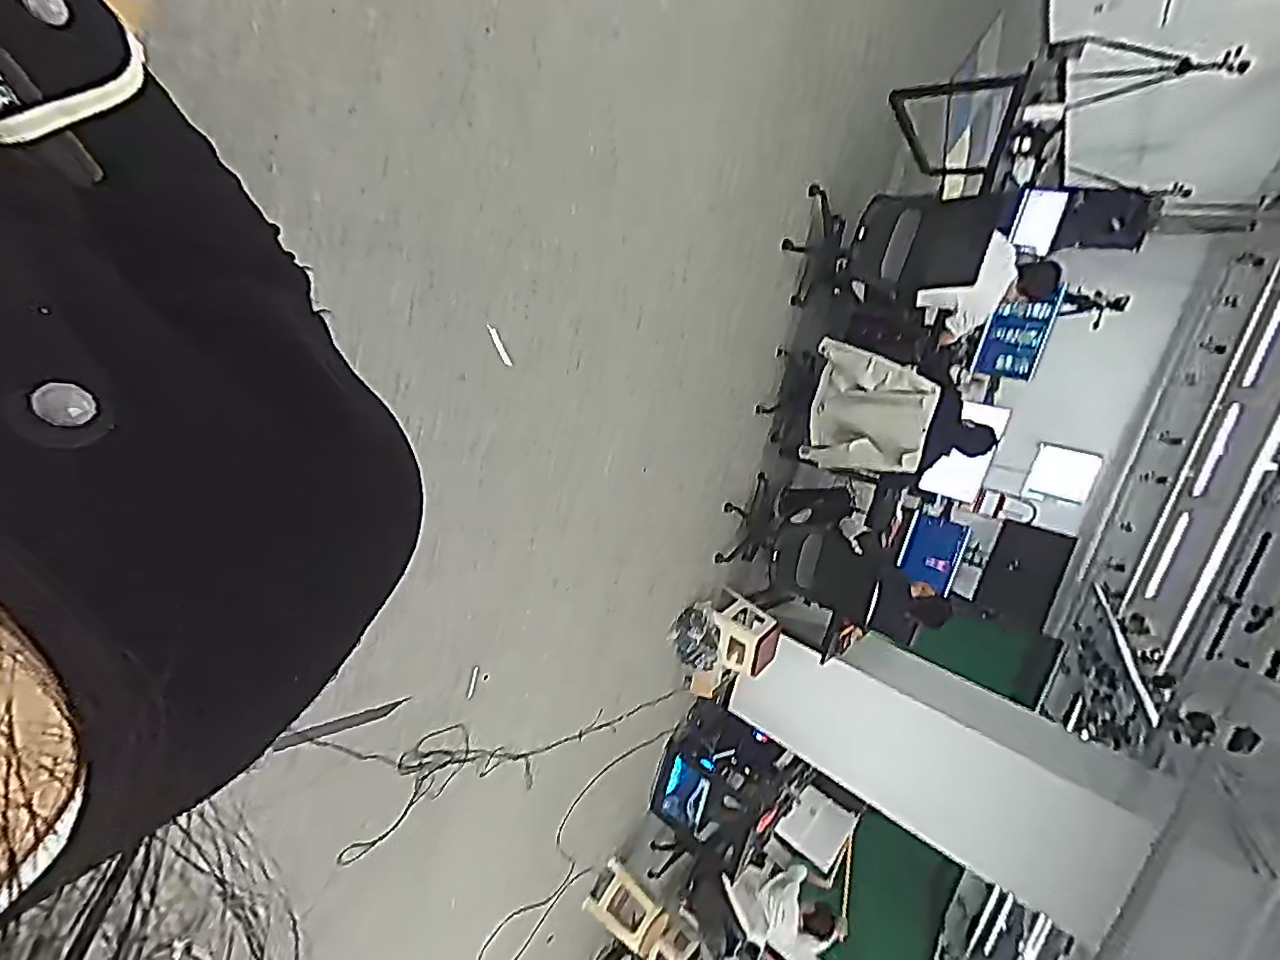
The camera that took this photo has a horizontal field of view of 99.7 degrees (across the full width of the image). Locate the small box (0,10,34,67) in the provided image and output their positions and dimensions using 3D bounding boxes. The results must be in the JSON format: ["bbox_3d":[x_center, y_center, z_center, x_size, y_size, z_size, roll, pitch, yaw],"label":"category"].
[{"bbox_3d":[-0.807,-0.598,0.598,0.179,0.176,0.168,1,108,-53],"label":"small box"}]

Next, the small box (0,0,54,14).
[{"bbox_3d":[-0.561,-0.500,0.405,0.179,0.176,0.168,7,102,-53],"label":"small box"}]
